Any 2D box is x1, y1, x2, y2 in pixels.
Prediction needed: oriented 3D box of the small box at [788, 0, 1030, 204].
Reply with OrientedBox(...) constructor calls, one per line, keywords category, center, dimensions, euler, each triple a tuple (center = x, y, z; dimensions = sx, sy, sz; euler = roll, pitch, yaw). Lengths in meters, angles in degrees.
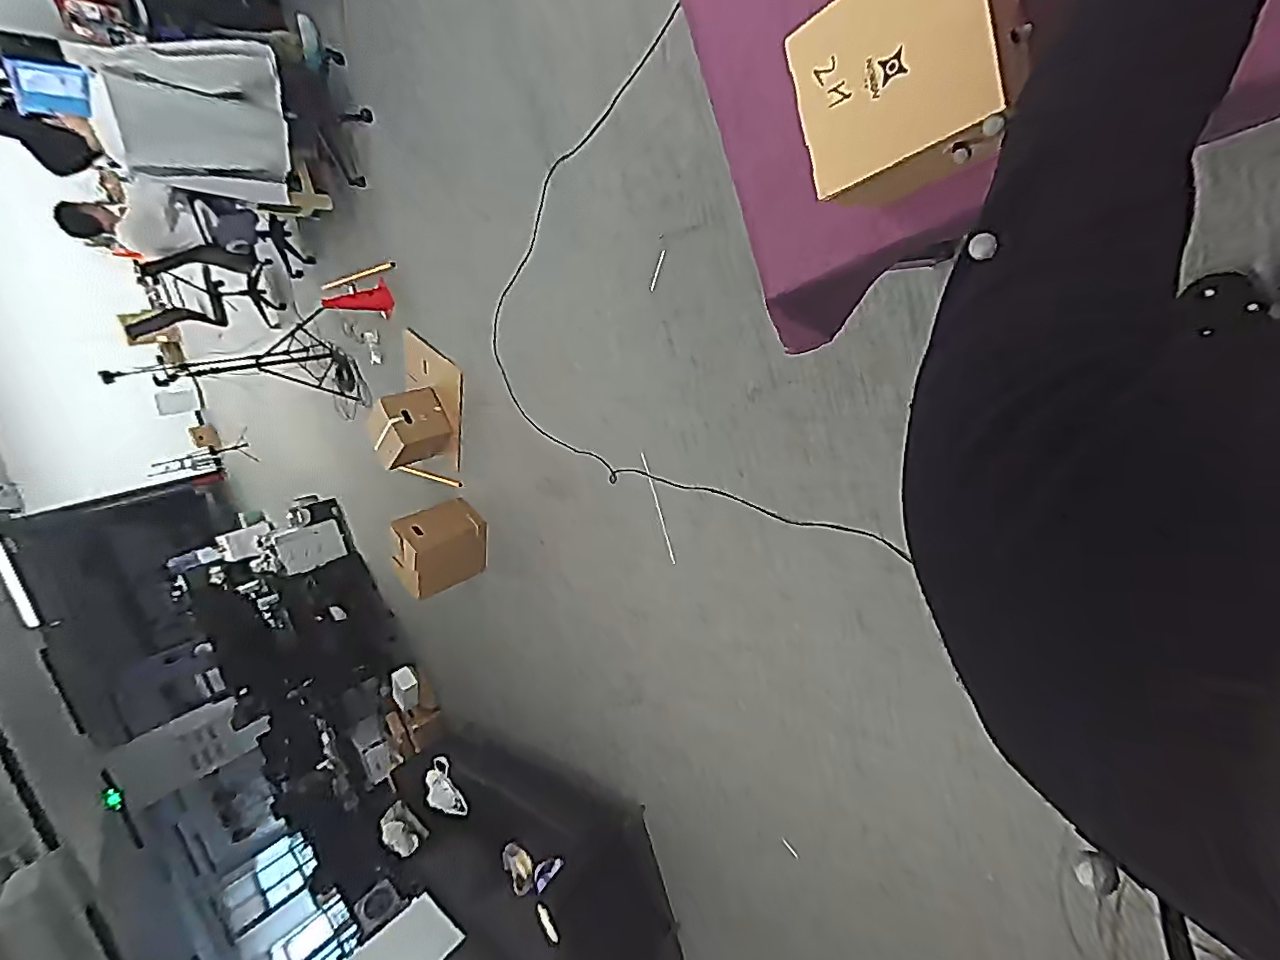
OrientedBox(category="small box", center=(0.289, -0.413, 0.571), dimensions=(0.179, 0.176, 0.168), euler=(-7, 101, 47))
